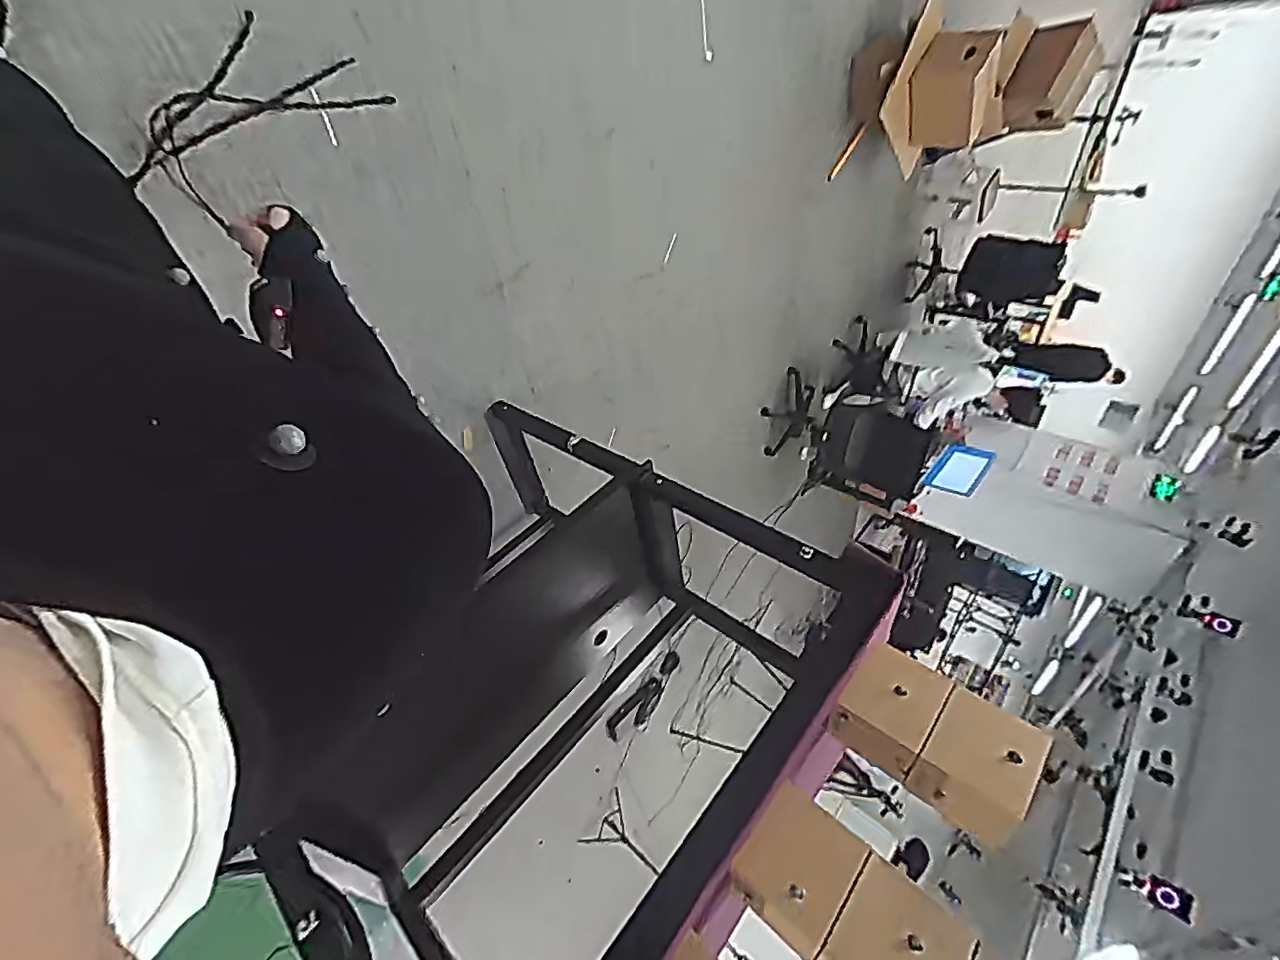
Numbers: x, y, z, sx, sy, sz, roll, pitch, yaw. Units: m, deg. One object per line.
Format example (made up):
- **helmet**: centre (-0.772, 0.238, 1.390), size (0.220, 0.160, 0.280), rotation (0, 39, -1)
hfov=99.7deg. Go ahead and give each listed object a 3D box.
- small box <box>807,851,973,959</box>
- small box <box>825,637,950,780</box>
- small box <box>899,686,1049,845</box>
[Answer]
- **small box**: centre (0.388, 0.741, 0.858), size (0.179, 0.176, 0.168), rotation (-40, 139, -31)
- **small box**: centre (0.498, 0.462, 1.107), size (0.179, 0.176, 0.168), rotation (-43, 142, -28)
- **small box**: centre (0.618, 0.527, 1.015), size (0.179, 0.176, 0.168), rotation (-41, 140, -28)
